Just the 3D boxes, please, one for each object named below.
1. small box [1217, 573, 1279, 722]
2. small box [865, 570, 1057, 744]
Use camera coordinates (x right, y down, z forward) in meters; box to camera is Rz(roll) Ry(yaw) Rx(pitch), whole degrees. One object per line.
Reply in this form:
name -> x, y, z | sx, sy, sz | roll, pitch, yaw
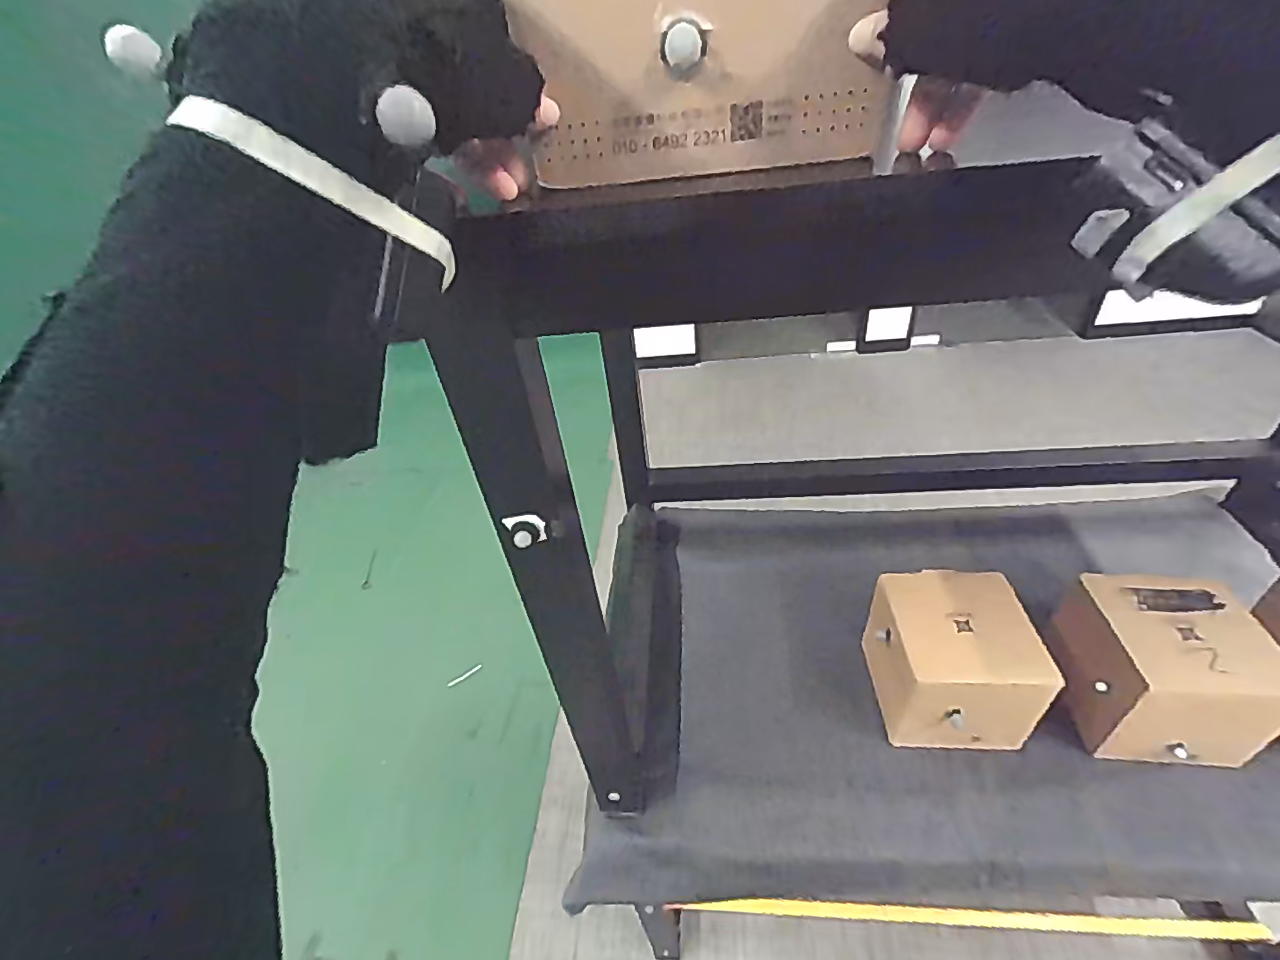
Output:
small box -> 0.915, 0.234, 0.678 | 0.168, 0.176, 0.179 | -3, 37, 7
small box -> 0.428, 0.248, 0.757 | 0.168, 0.176, 0.179 | -2, 38, 8
